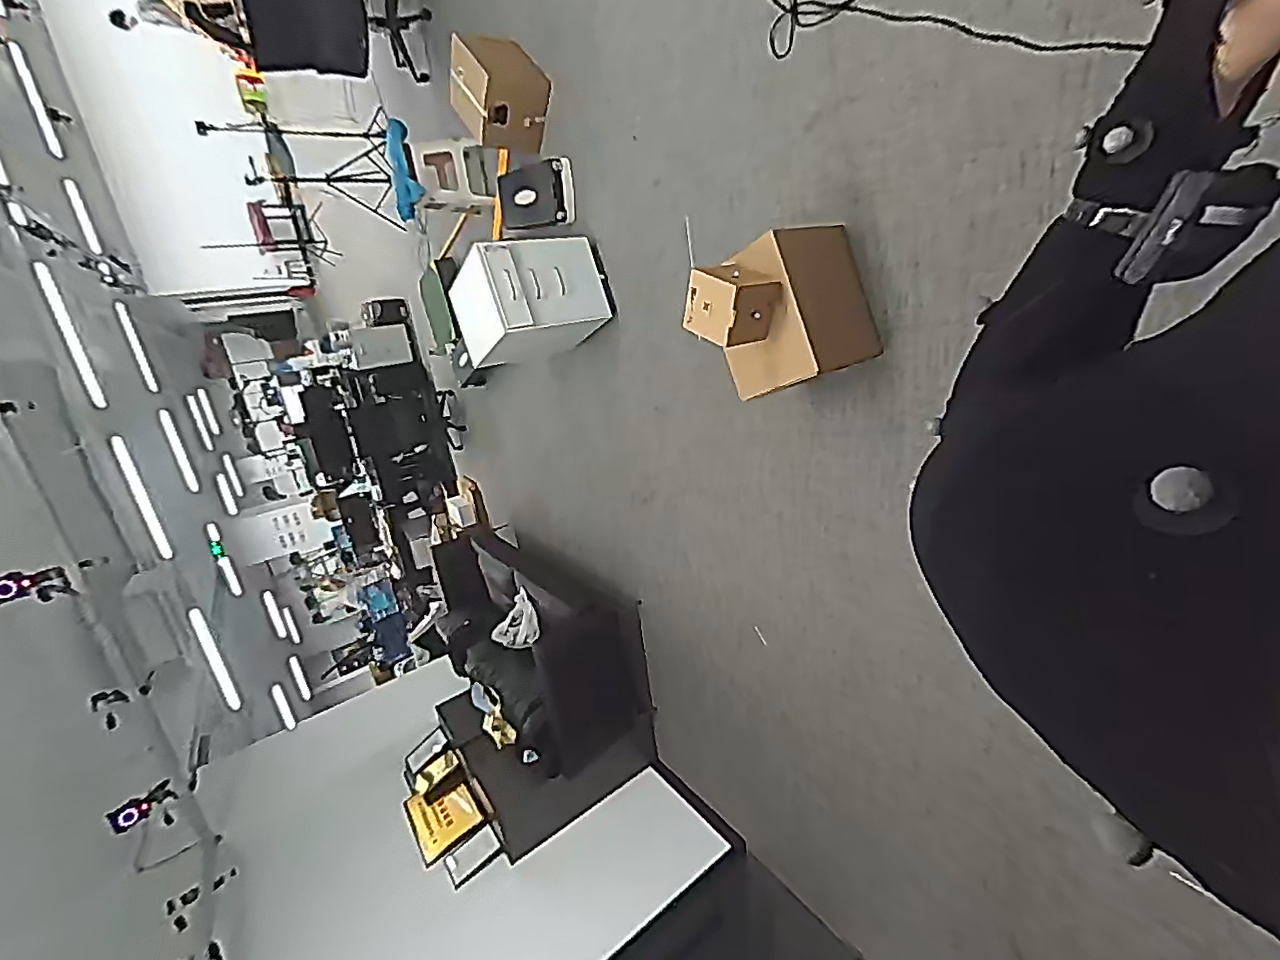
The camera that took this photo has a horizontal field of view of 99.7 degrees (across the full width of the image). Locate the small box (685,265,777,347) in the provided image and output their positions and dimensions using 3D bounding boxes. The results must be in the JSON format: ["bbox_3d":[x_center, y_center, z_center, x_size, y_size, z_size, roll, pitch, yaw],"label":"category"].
[{"bbox_3d":[0.252,-0.489,1.496,0.179,0.176,0.168,39,136,37],"label":"small box"}]
